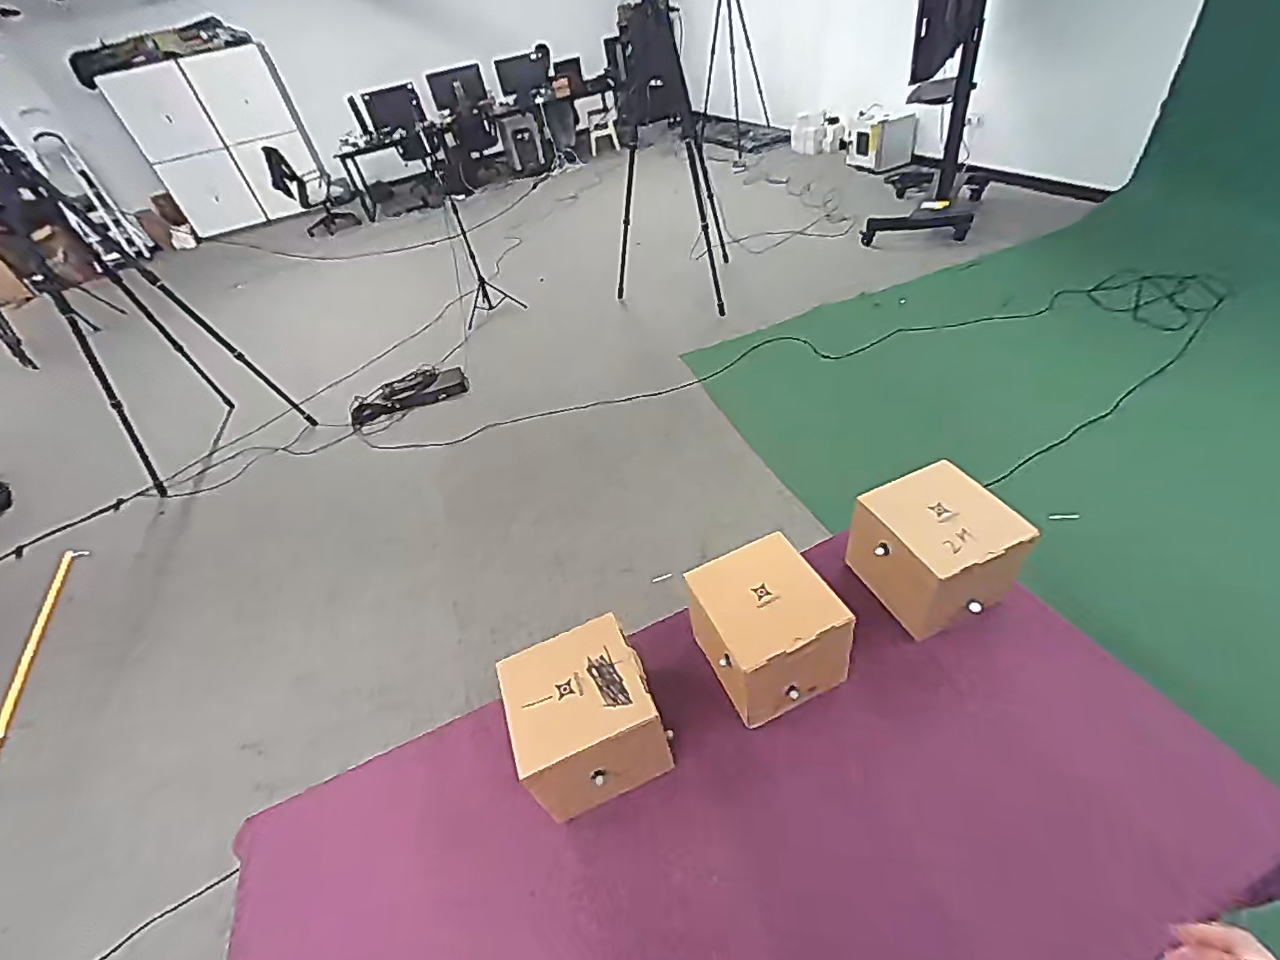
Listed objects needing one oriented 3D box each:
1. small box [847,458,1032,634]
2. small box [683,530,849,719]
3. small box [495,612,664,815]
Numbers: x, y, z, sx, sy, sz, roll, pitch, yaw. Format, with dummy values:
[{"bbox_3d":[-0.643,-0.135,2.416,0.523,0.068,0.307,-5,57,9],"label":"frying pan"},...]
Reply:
[{"bbox_3d":[0.443,0.102,0.838,0.168,0.176,0.179,-22,45,-8],"label":"small box"},{"bbox_3d":[0.178,0.212,0.797,0.168,0.176,0.179,-23,44,-10],"label":"small box"},{"bbox_3d":[-0.076,0.320,0.744,0.179,0.176,0.168,-23,42,-8],"label":"small box"}]
